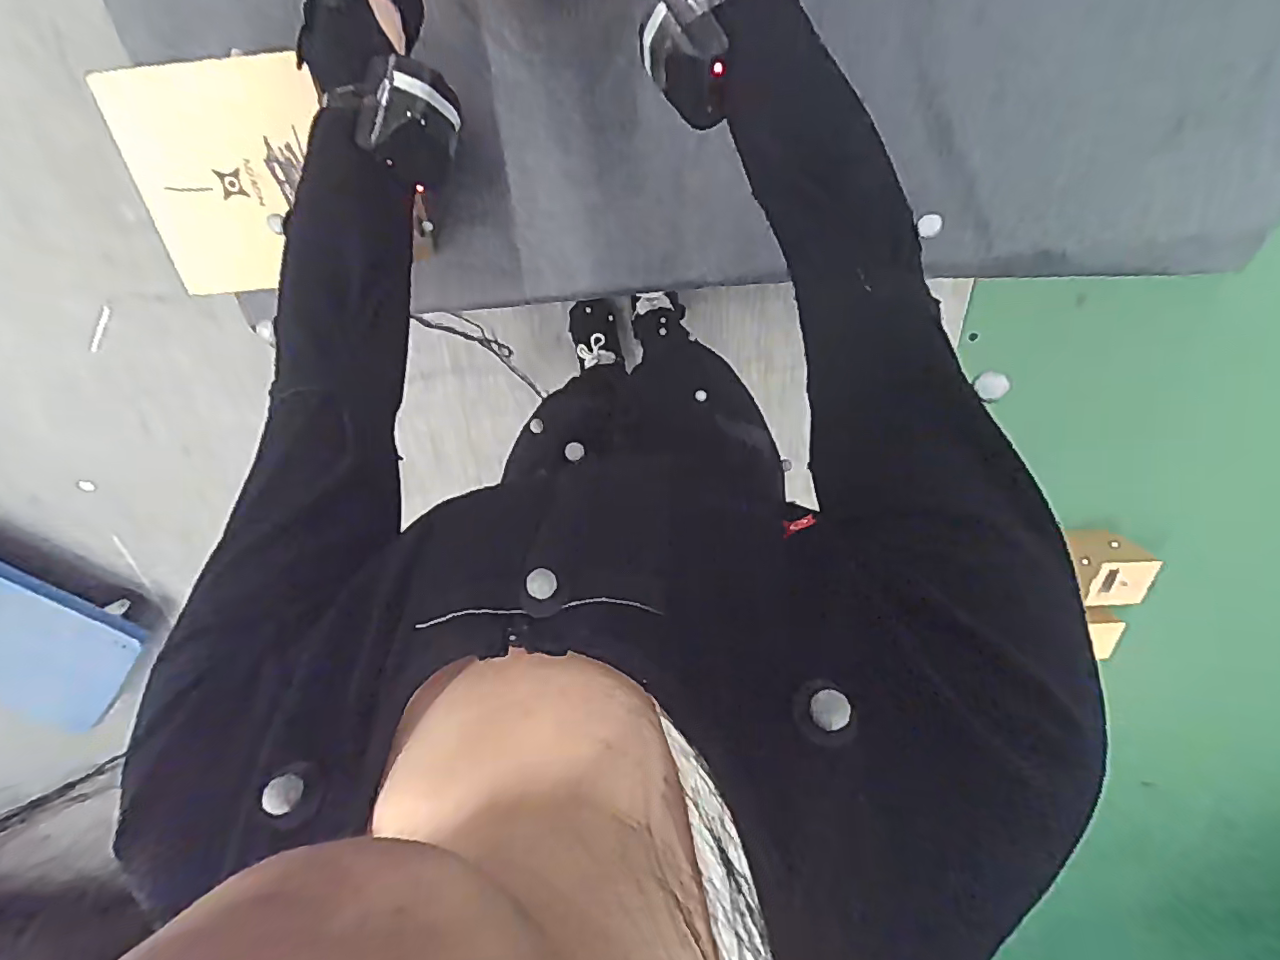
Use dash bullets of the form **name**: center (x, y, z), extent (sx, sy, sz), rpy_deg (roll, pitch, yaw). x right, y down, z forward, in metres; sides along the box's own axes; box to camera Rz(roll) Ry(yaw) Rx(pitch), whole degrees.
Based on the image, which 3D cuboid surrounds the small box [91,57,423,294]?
- **small box**: center (-0.327, -0.284, 0.516), extent (0.179, 0.176, 0.168), rpy_deg (-4, 119, 2)

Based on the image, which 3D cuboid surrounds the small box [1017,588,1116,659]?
- **small box**: center (1.422, 0.478, 1.814), extent (0.179, 0.176, 0.168), rpy_deg (-3, 120, 2)
